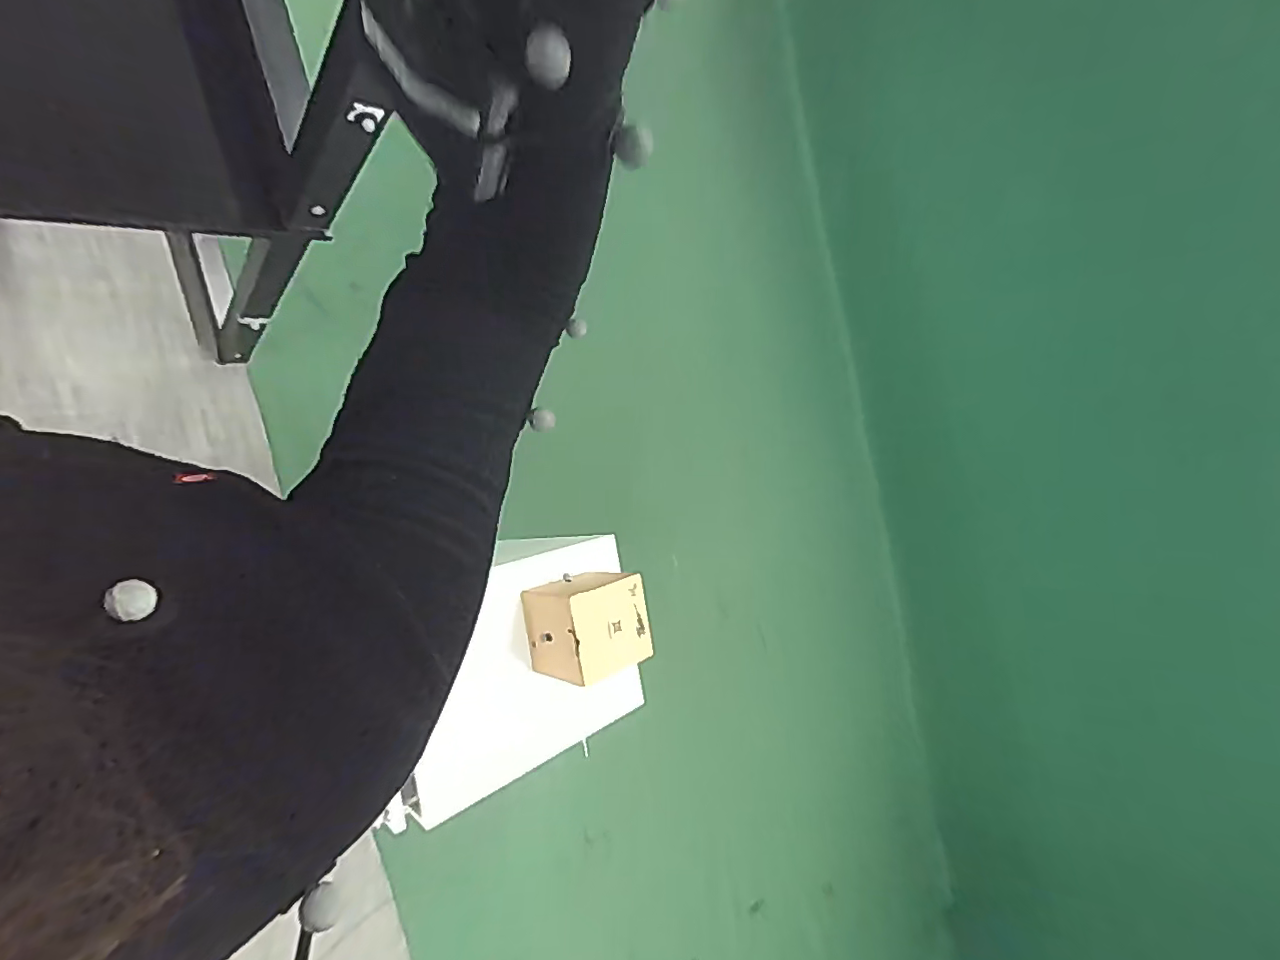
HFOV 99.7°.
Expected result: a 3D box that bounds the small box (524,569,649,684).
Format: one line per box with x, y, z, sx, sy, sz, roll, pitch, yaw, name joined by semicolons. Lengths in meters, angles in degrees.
-0.111;0.274;1.052;0.179;0.176;0.168;-10;92;-43;small box
